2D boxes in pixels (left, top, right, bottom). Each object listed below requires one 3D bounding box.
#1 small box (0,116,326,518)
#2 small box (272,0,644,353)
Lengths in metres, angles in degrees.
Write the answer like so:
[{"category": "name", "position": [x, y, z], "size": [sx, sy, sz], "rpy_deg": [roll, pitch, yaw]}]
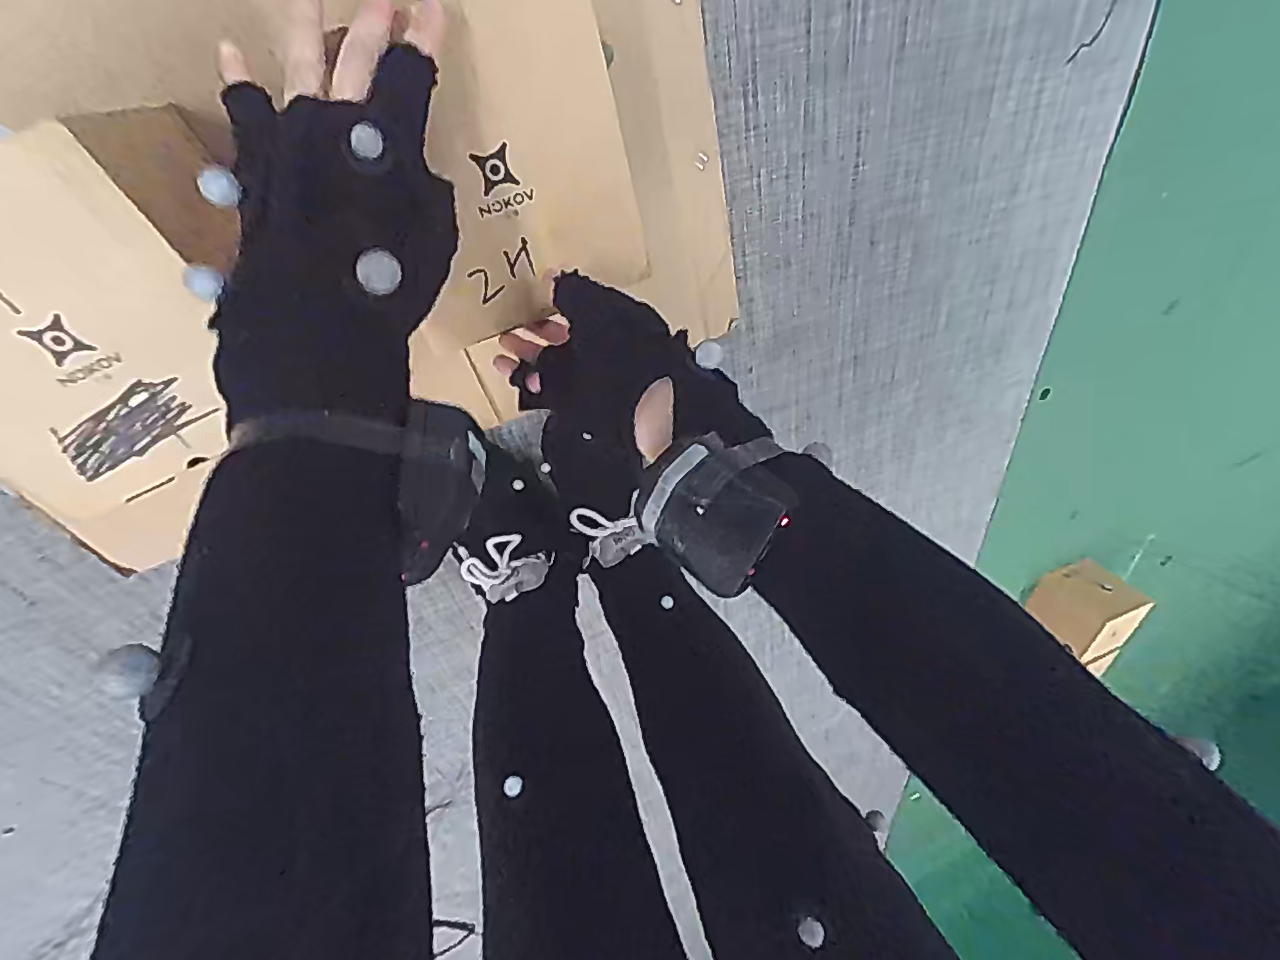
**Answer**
[{"category": "small box", "position": [-0.342, -0.114, 0.361], "size": [0.168, 0.176, 0.179], "rpy_deg": [-27, 130, -4]}, {"category": "small box", "position": [-0.117, -0.224, 0.389], "size": [0.168, 0.176, 0.179], "rpy_deg": [-23, 130, -6]}]
